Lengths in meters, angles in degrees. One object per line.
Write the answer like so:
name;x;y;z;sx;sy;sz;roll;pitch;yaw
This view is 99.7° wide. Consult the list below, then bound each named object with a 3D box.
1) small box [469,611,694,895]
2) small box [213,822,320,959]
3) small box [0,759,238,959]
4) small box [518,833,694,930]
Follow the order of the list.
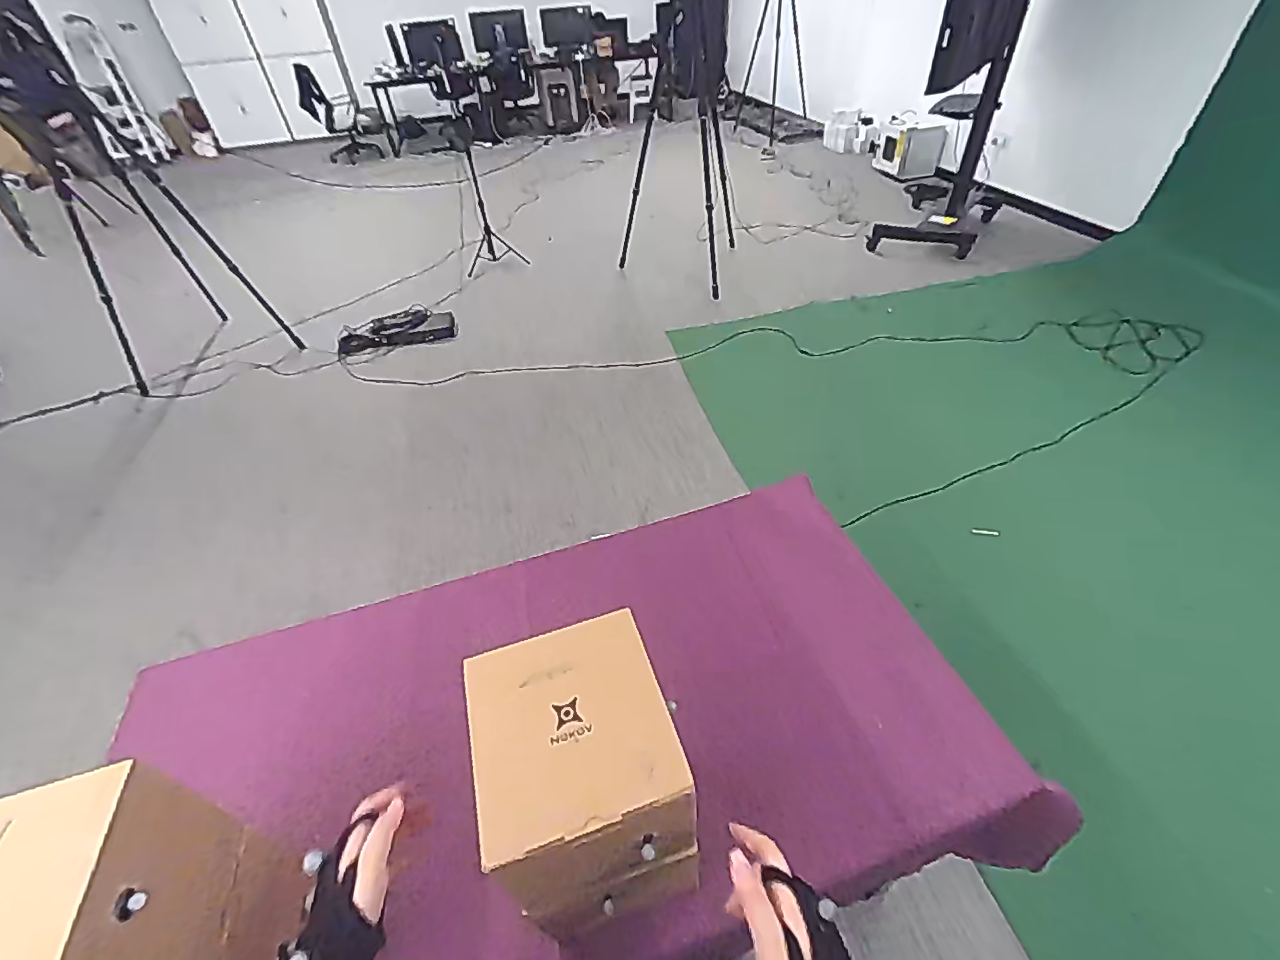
small box;-0.053;0.262;0.516;0.168;0.176;0.179;-15;44;-11
small box;-0.464;0.490;0.552;0.179;0.176;0.168;-14;44;-11
small box;-0.473;0.370;0.440;0.168;0.176;0.179;-14;43;-11
small box;-0.043;0.385;0.624;0.179;0.176;0.168;-13;45;-9
